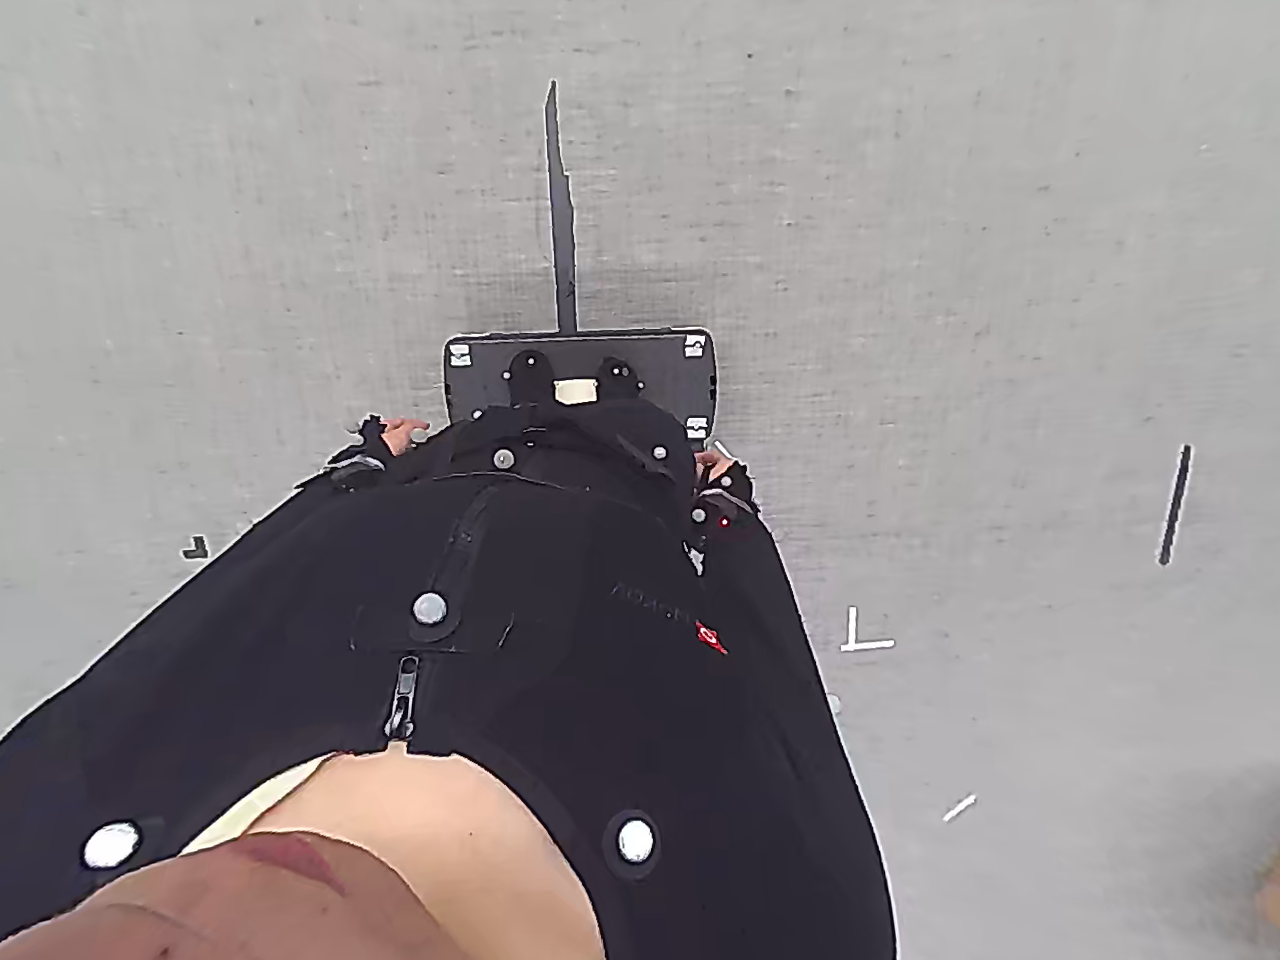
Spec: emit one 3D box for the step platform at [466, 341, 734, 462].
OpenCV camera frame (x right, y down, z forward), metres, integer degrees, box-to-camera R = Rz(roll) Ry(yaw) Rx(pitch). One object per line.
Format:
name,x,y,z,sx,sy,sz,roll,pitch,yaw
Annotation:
step platform,-0.099,-0.206,1.417,0.684,0.204,0.286,2,104,-3
